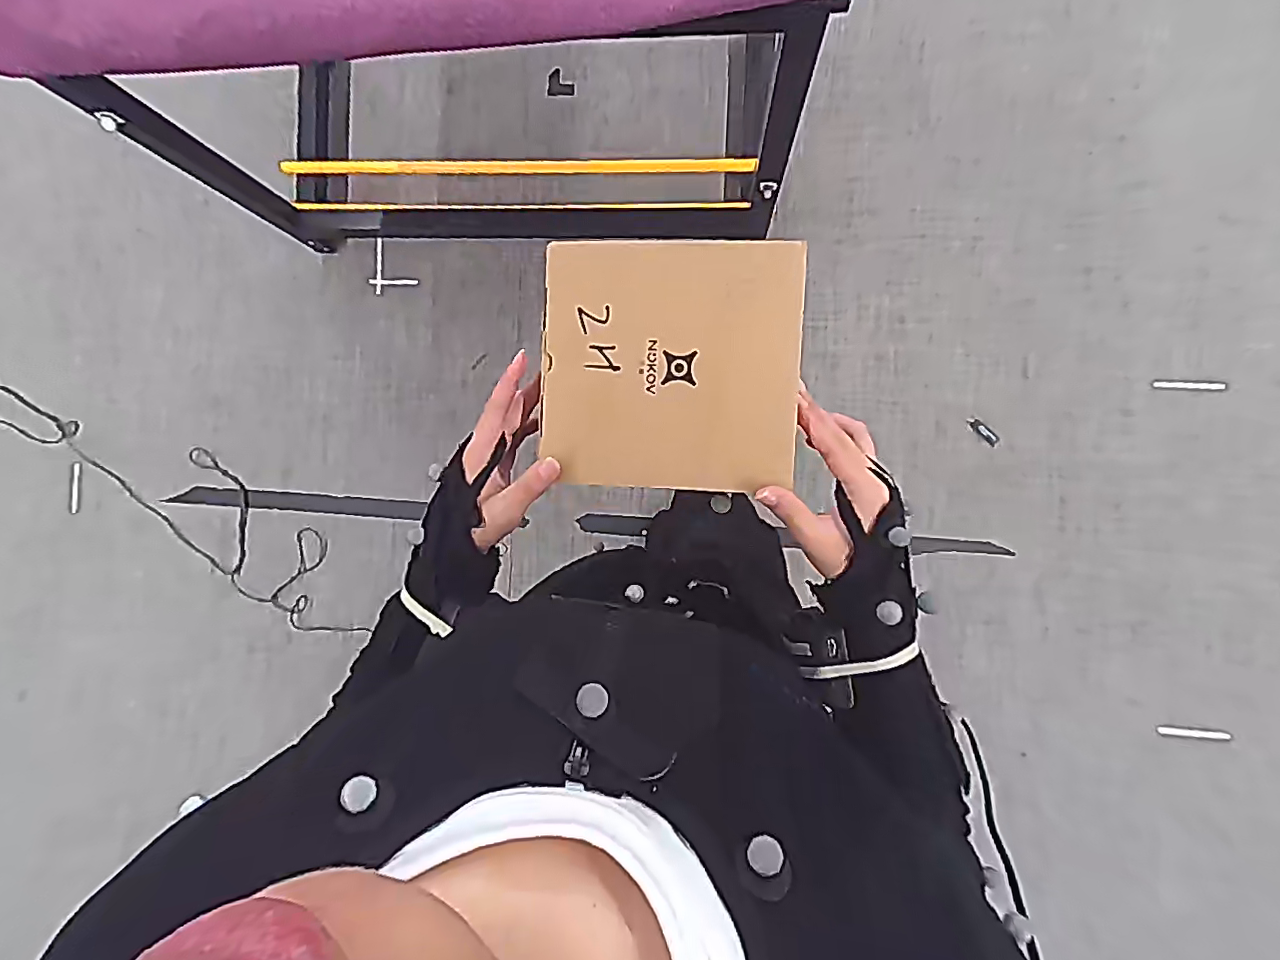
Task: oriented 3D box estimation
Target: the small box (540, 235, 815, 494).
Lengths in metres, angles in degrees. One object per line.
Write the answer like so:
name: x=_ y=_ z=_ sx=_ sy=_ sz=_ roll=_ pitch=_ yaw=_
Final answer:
small box: x=0.031 y=-0.081 z=0.436 sx=0.179 sy=0.176 sz=0.168 roll=3 pitch=92 yaw=7
